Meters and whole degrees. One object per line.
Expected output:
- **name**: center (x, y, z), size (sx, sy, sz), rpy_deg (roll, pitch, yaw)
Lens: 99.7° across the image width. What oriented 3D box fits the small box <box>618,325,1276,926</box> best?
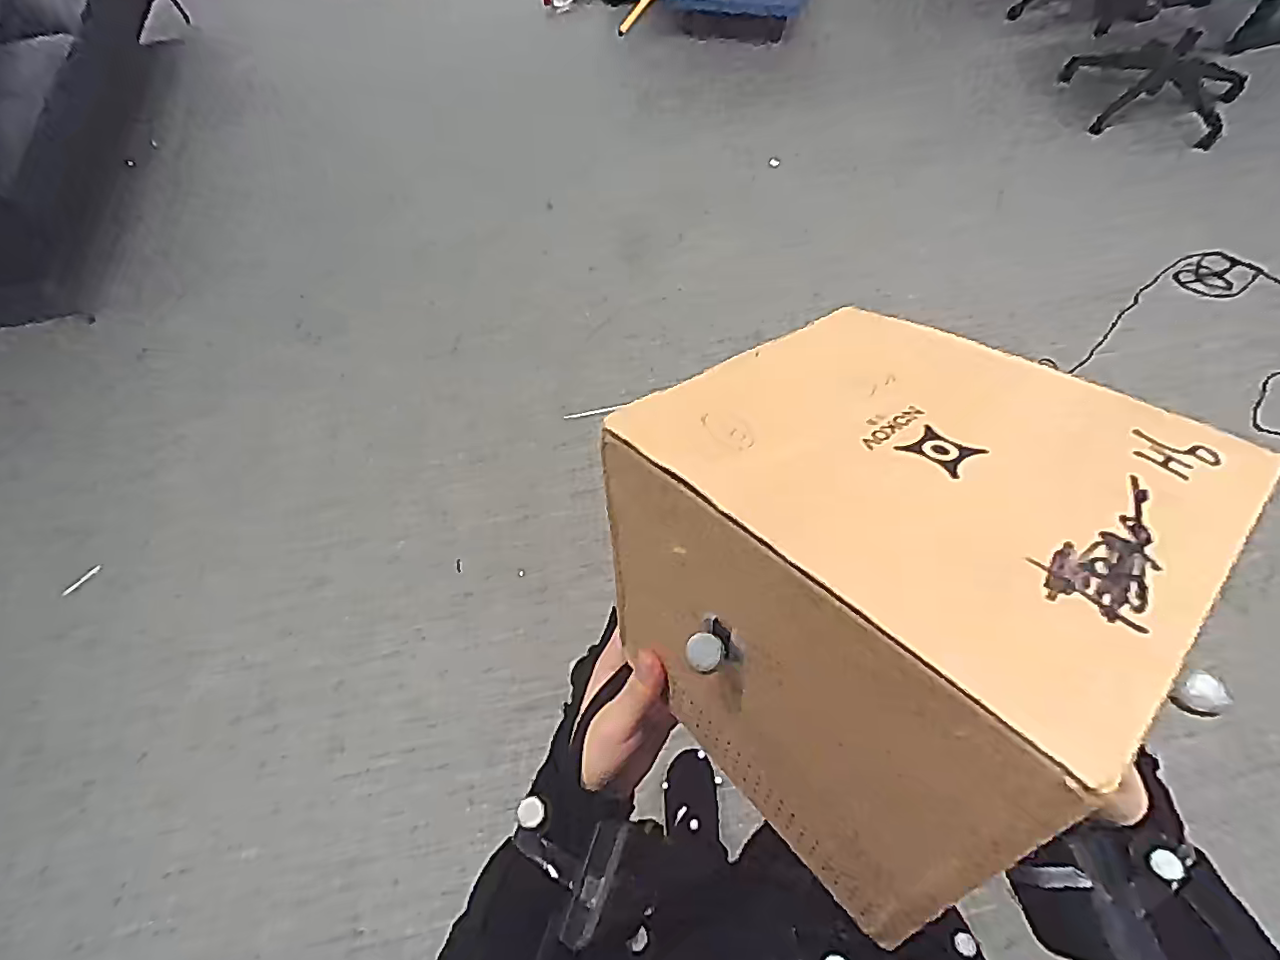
- **small box**: center (0.109, 0.053, 0.255), size (0.168, 0.176, 0.179), rpy_deg (-31, 47, -27)
